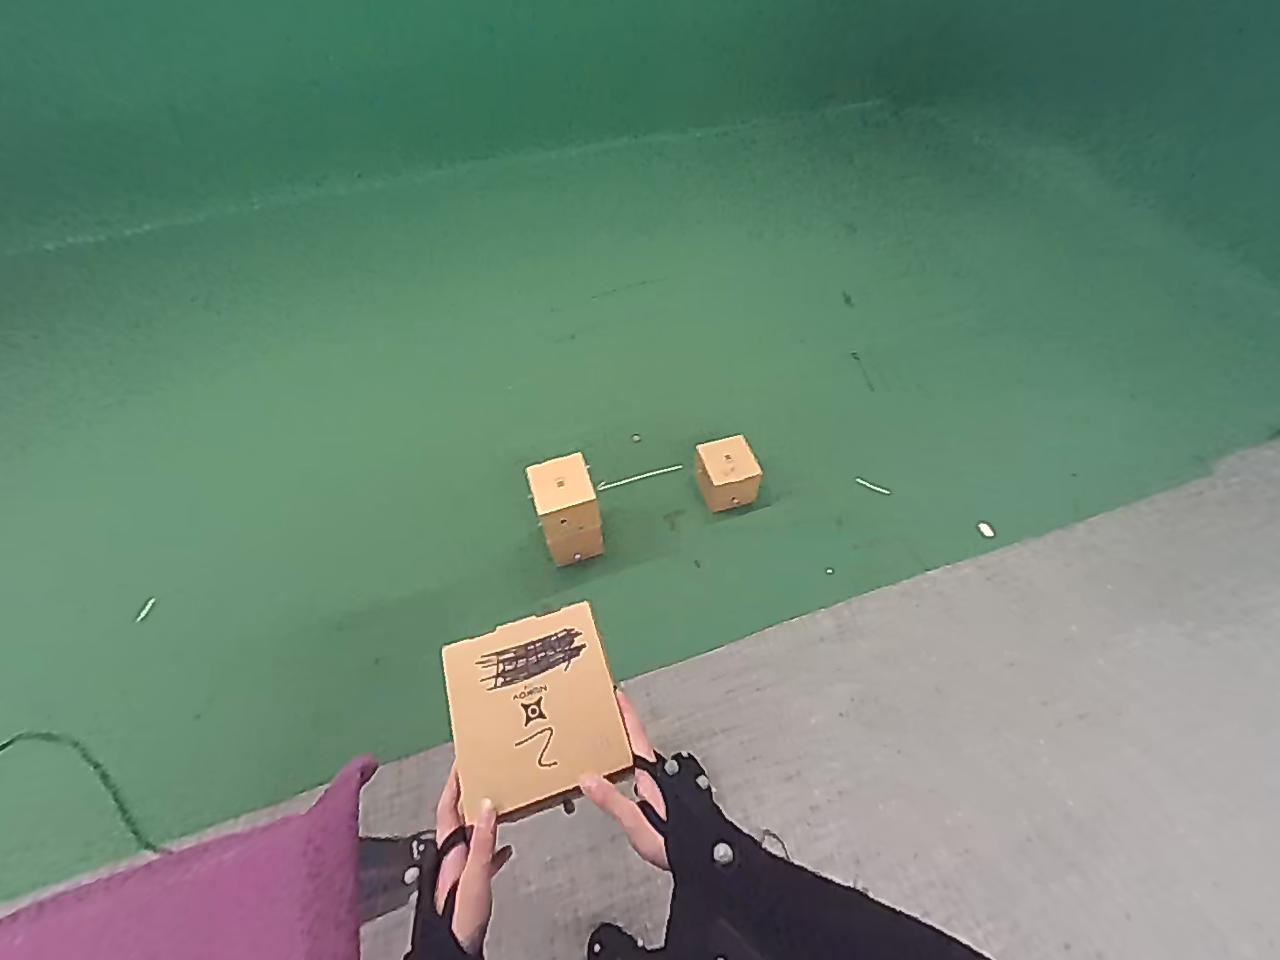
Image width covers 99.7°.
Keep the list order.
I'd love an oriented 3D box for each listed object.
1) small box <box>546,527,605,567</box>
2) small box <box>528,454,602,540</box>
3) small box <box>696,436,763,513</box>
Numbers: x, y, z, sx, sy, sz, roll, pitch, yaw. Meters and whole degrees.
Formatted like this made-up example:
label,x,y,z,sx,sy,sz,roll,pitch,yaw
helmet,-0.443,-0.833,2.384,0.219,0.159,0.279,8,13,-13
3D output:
label,x,y,z,sx,sy,sz,roll,pitch,yaw
small box,-0.217,0.151,1.731,0.168,0.176,0.179,-17,57,-9
small box,-0.218,0.058,1.599,0.168,0.176,0.179,-17,55,-9
small box,0.295,-0.017,1.835,0.168,0.176,0.179,-14,56,-9
